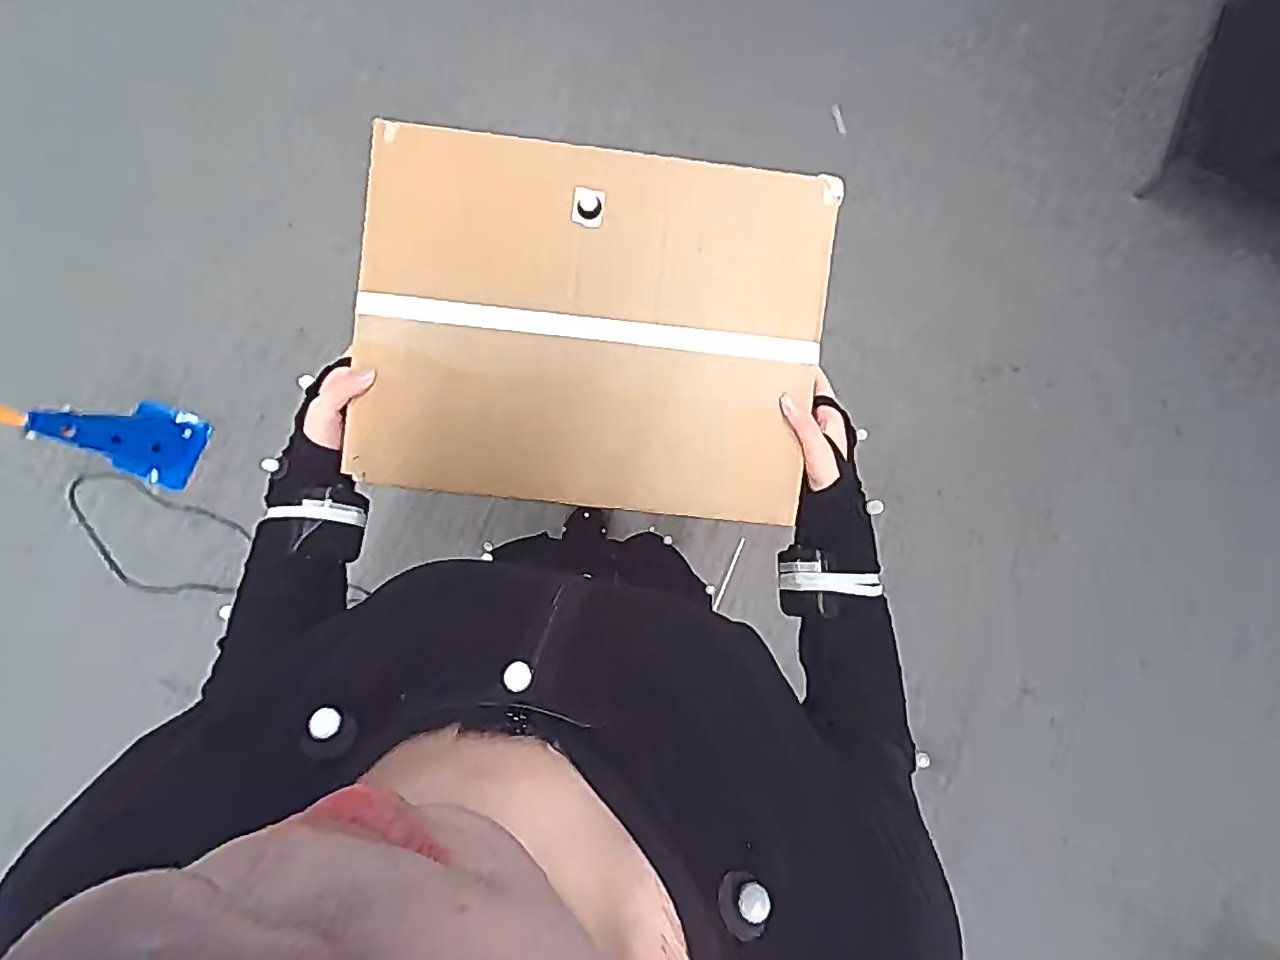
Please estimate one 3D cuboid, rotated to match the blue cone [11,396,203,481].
[{"bbox_3d":[-1.240,-0.123,1.239,0.192,0.380,0.193,22,83,-4],"label":"blue cone"}]
